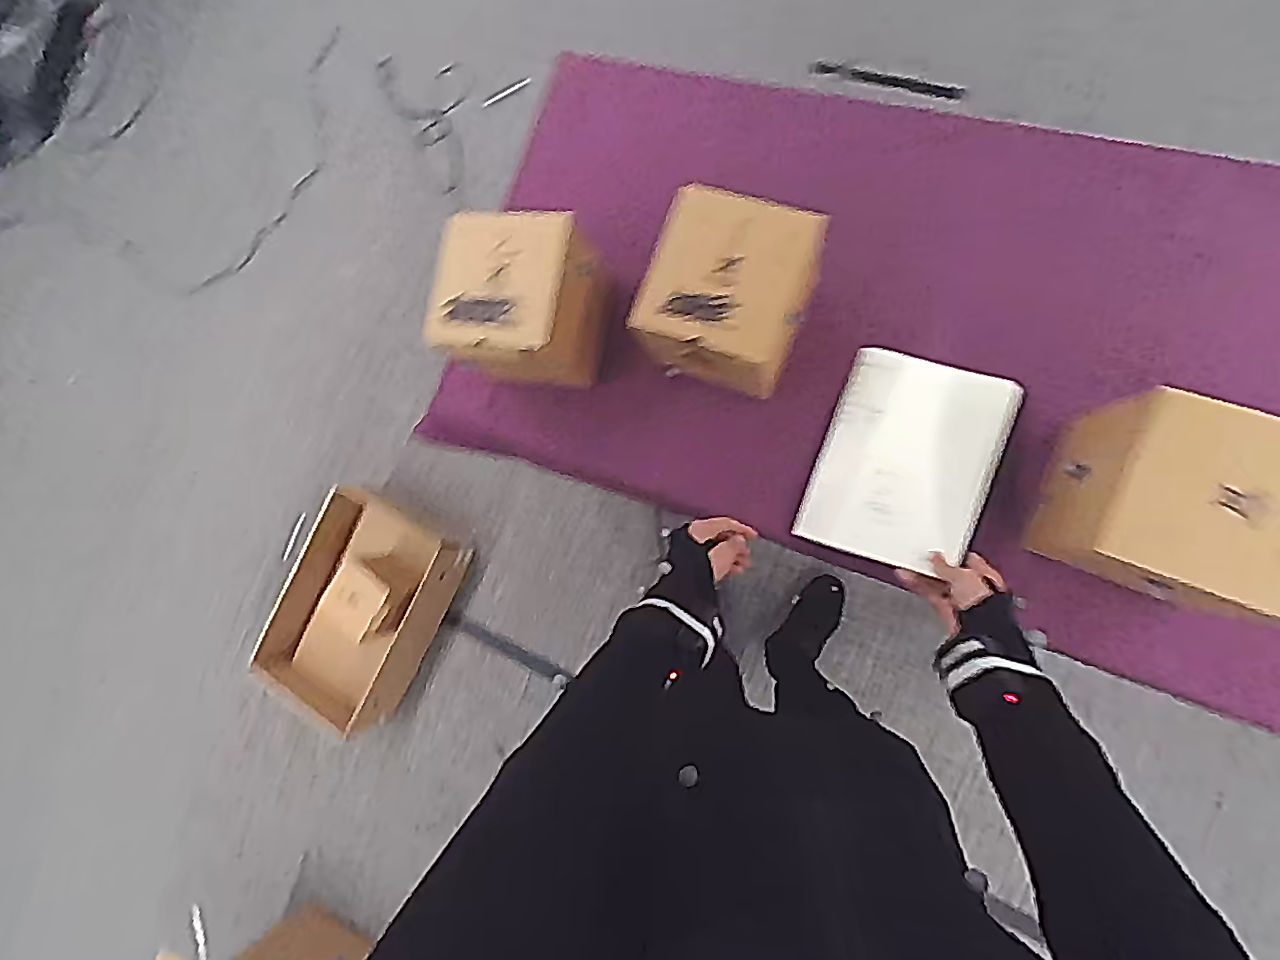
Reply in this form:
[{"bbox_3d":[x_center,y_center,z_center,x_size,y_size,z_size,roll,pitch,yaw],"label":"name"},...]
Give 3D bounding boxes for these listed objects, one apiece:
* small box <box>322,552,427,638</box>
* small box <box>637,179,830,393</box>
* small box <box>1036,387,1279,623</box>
[{"bbox_3d":[-0.752,0.320,1.552,0.179,0.176,0.168,36,95,14],"label":"small box"},{"bbox_3d":[0.119,-0.226,0.670,0.168,0.176,0.179,22,90,15],"label":"small box"},{"bbox_3d":[0.545,0.030,0.537,0.179,0.176,0.168,23,91,15],"label":"small box"}]
